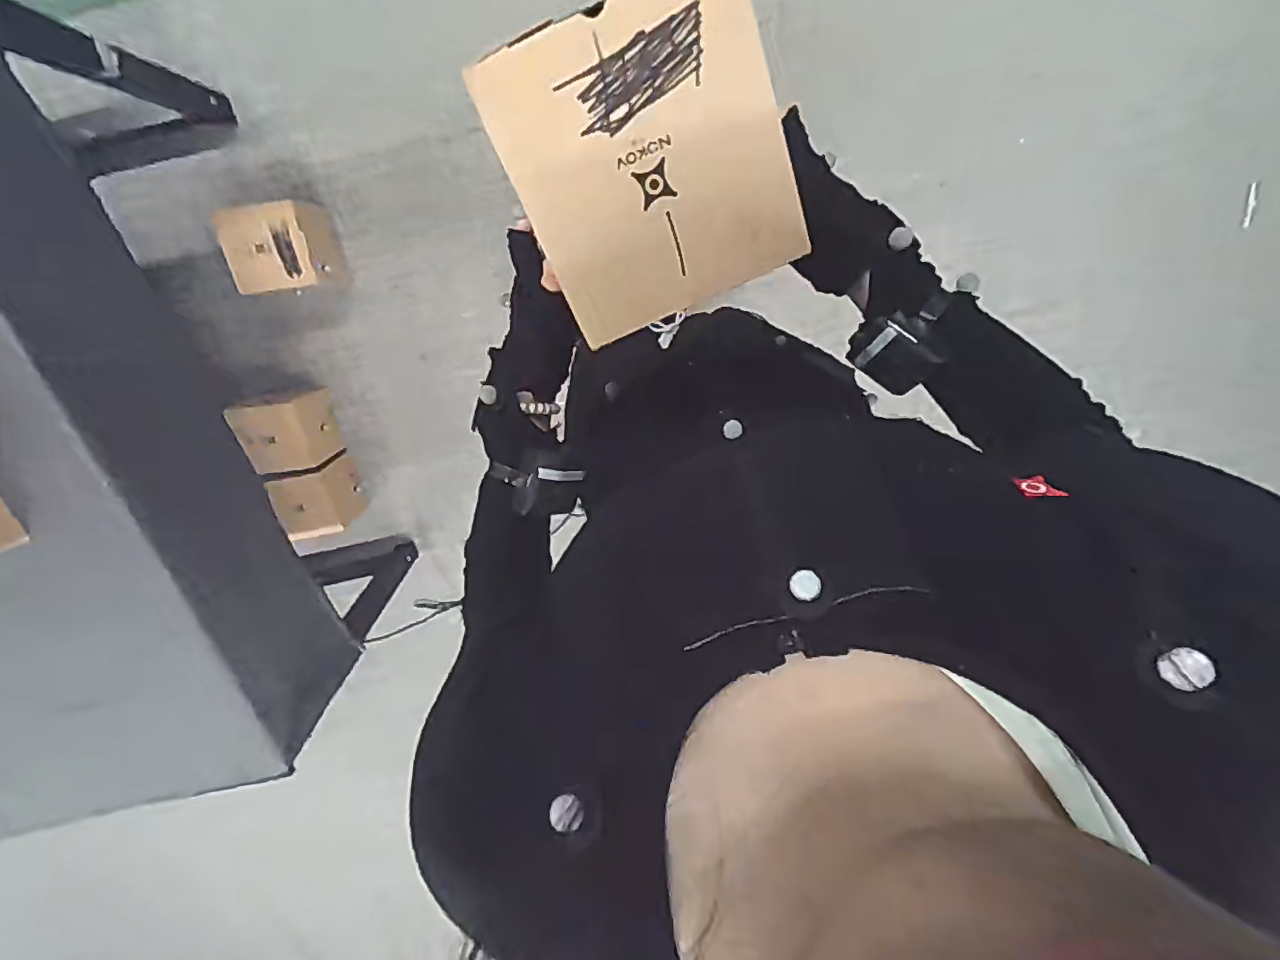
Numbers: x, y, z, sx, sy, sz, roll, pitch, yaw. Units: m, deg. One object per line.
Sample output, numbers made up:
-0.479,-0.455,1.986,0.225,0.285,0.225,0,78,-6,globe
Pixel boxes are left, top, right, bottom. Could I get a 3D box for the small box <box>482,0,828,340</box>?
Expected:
0.011,-0.227,0.393,0.168,0.176,0.179,-21,117,6,small box
